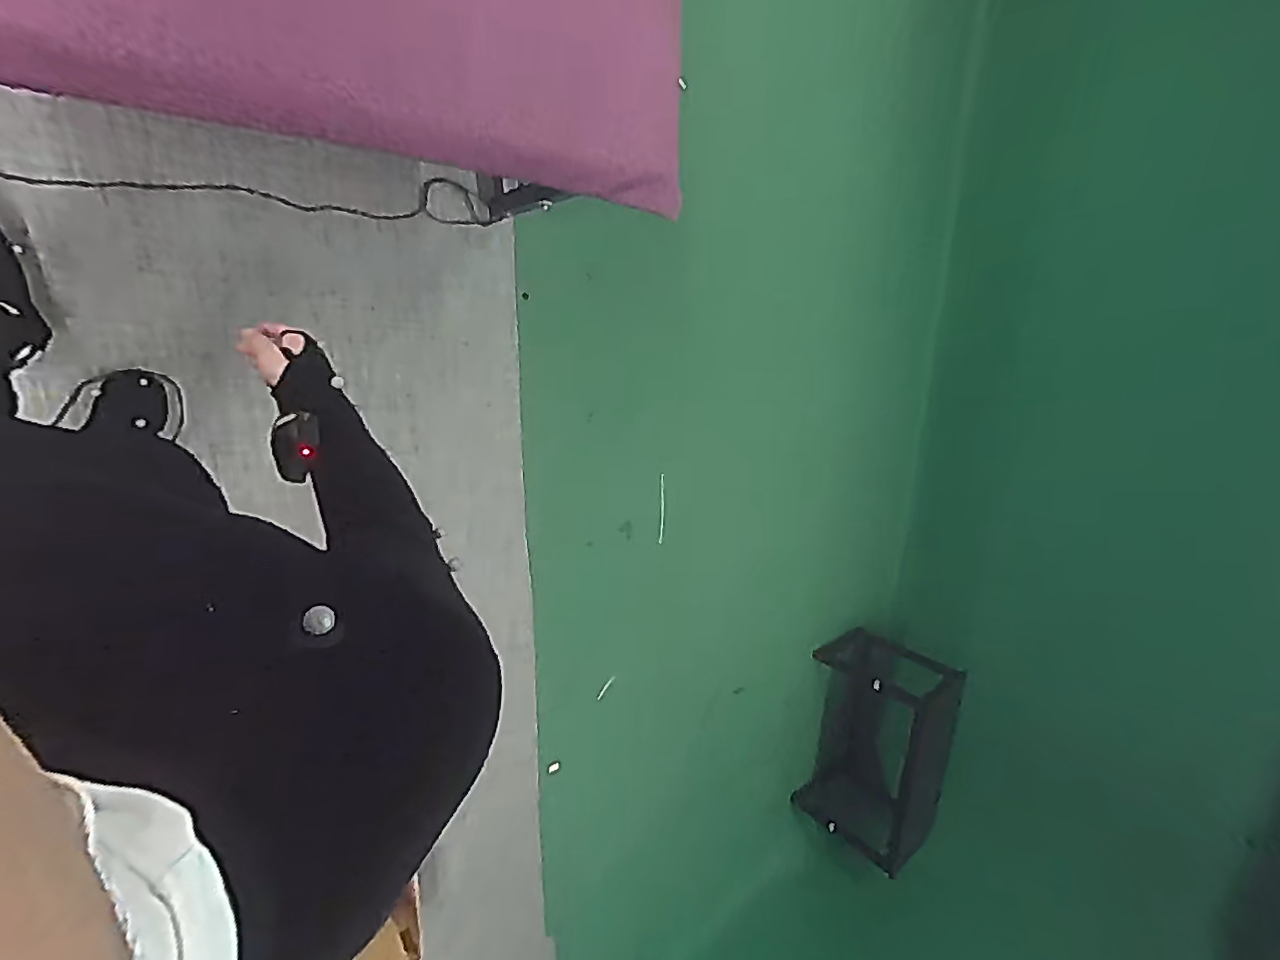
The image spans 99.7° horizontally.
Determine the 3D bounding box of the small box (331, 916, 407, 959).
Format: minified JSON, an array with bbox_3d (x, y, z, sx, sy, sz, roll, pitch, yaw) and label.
[{"bbox_3d":[-0.780,1.442,1.574,0.168,0.176,0.179,-14,112,-40],"label":"small box"}]
